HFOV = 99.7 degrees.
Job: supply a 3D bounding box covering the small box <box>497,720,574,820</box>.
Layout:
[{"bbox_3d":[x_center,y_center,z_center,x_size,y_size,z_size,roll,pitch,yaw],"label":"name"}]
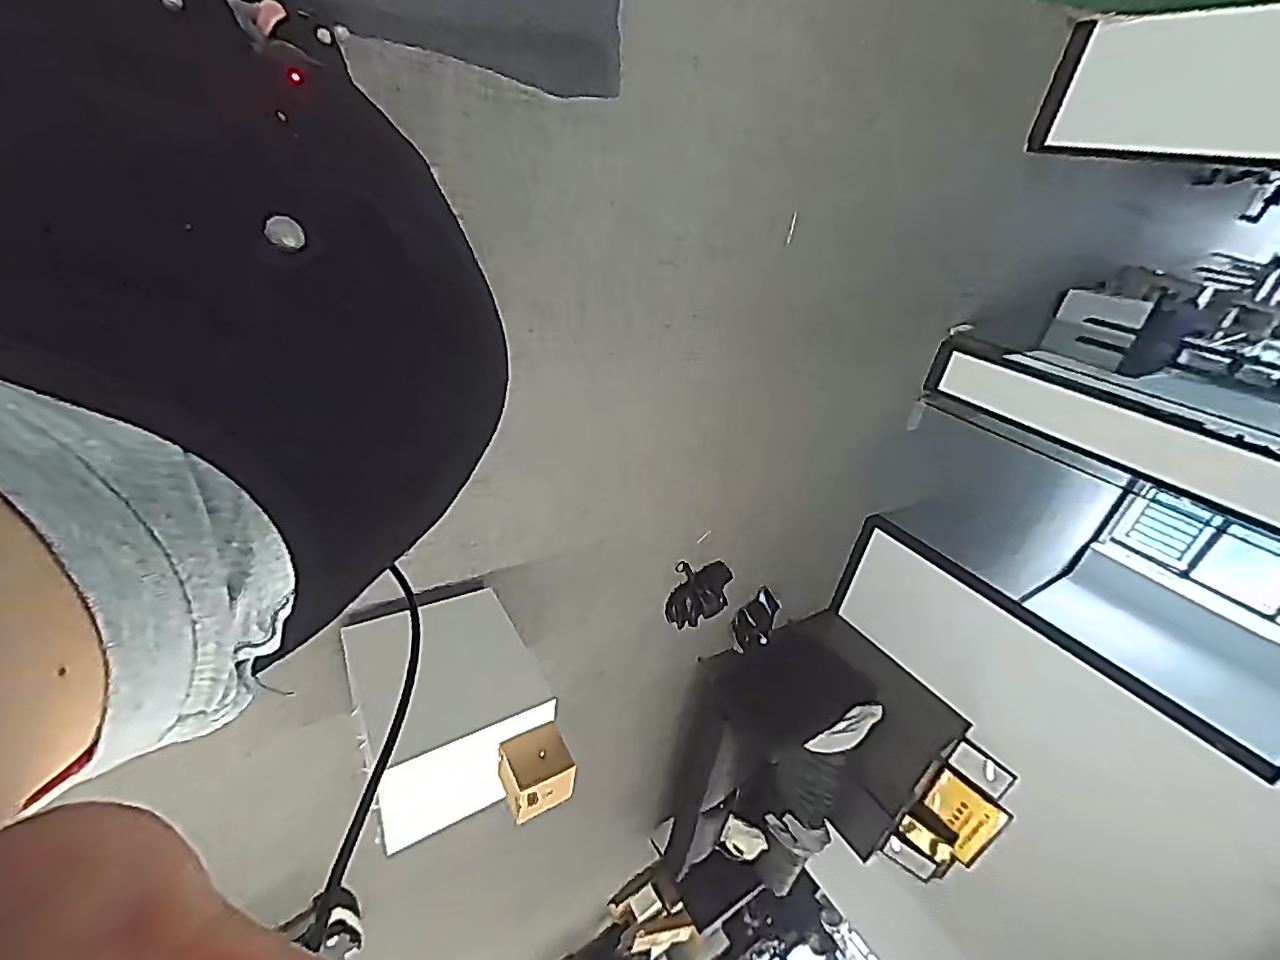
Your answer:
[{"bbox_3d":[-0.321,0.867,1.631,0.179,0.176,0.168,-11,127,-33],"label":"small box"}]
